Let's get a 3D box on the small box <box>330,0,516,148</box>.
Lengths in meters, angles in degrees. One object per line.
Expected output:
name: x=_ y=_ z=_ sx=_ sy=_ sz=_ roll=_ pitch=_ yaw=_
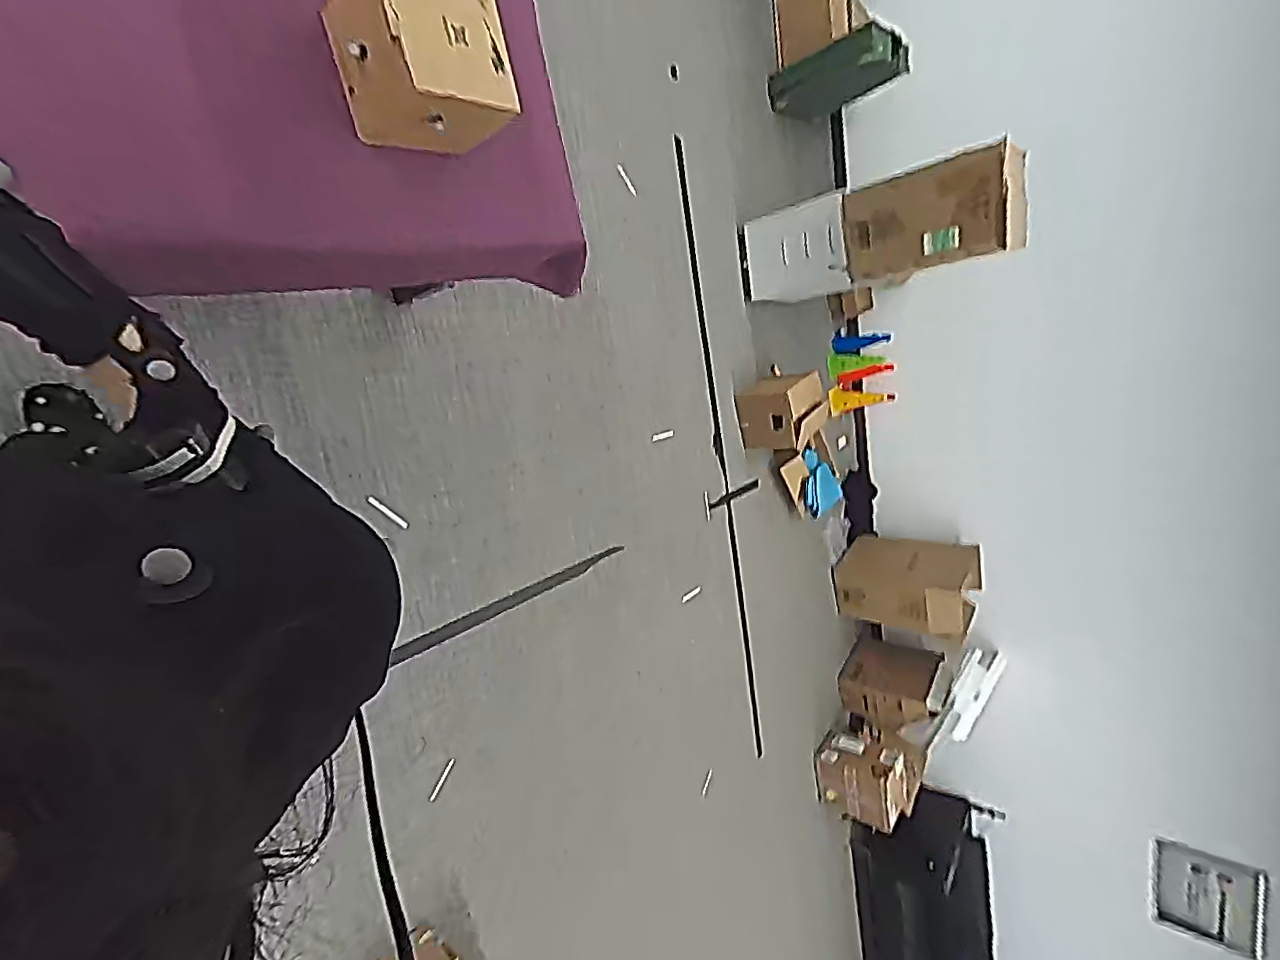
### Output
small box: x=-0.312 y=-0.598 z=0.768 sx=0.179 sy=0.176 sz=0.168 roll=-27 pitch=111 yaw=-45
